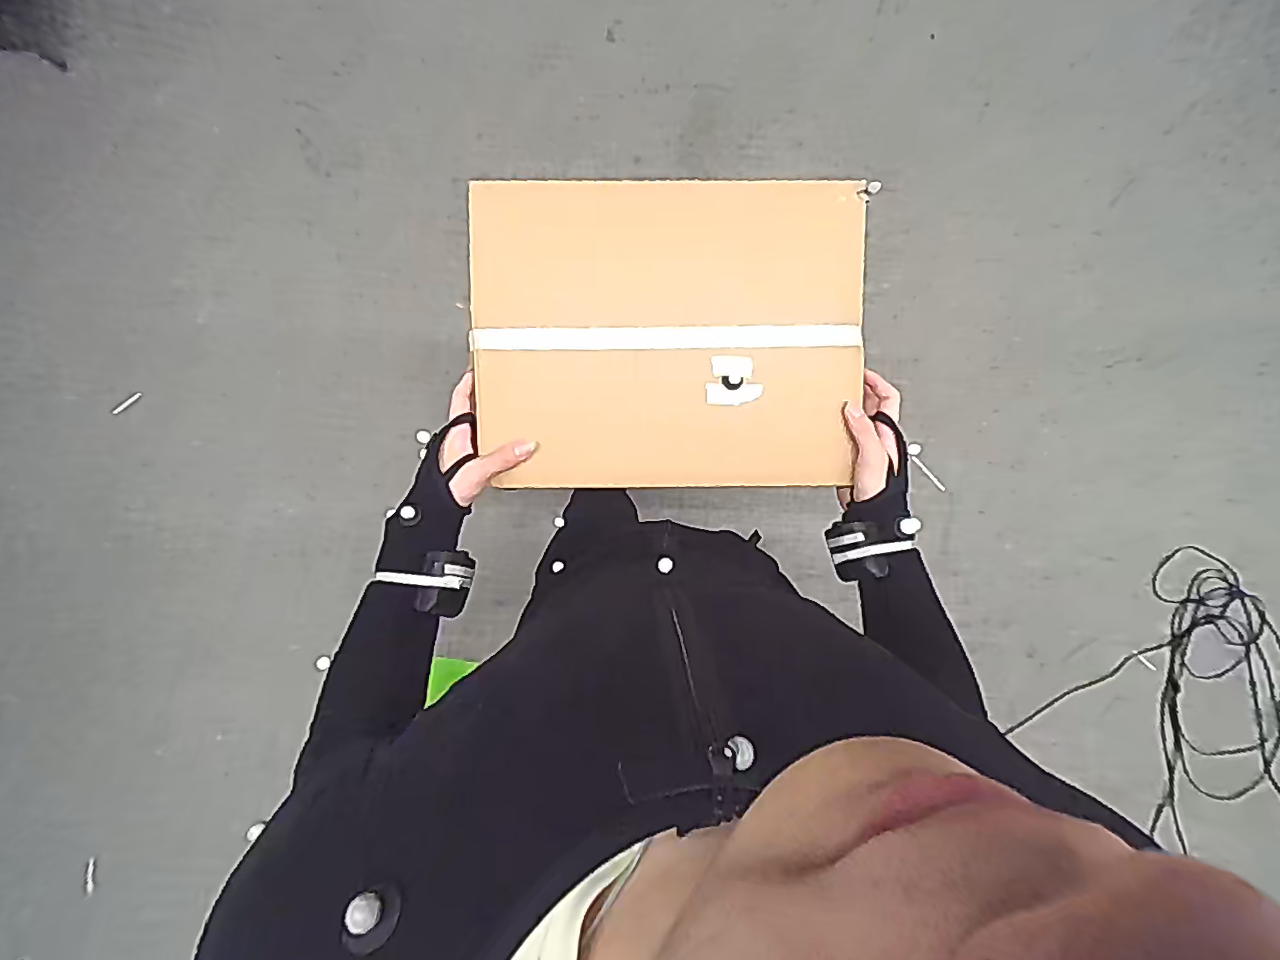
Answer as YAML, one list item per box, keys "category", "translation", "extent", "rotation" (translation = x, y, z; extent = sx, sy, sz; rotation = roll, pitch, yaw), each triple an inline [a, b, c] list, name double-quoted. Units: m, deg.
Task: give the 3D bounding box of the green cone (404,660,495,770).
- category: "green cone"
  translation: [-0.537, 0.645, 1.436]
  extent: [0.200, 0.368, 0.202]
  rotation: [9, 91, -1]

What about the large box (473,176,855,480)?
- category: "large box"
  translation: [0.025, -0.171, 0.718]
  extent: [0.408, 0.320, 0.320]
  rotation: [-1, 96, -1]
